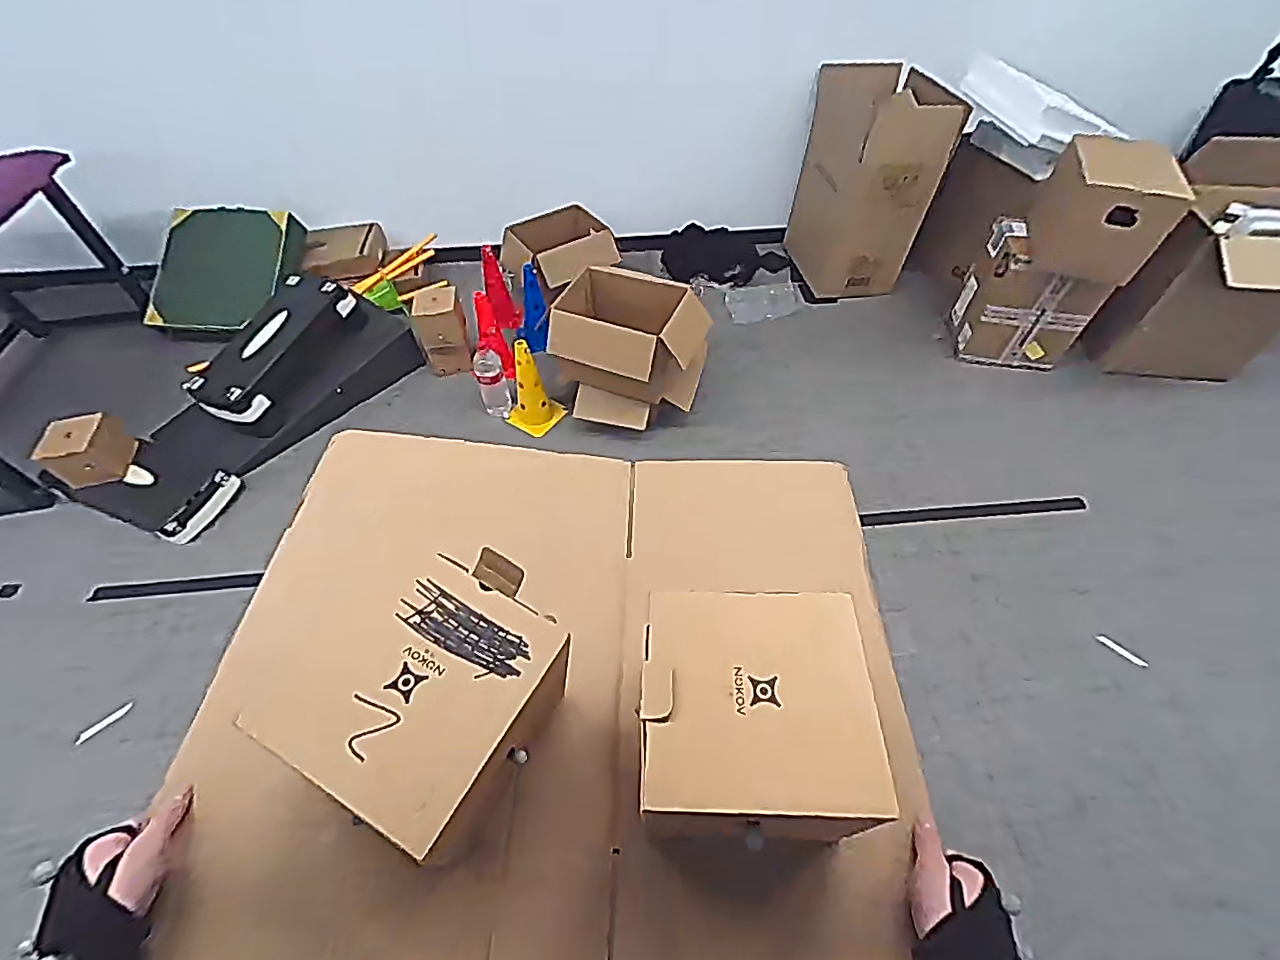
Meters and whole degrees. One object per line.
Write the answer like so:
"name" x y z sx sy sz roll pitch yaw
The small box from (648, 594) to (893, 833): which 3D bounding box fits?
"small box" 0.098 0.217 0.493 0.179 0.176 0.168 0 53 3
